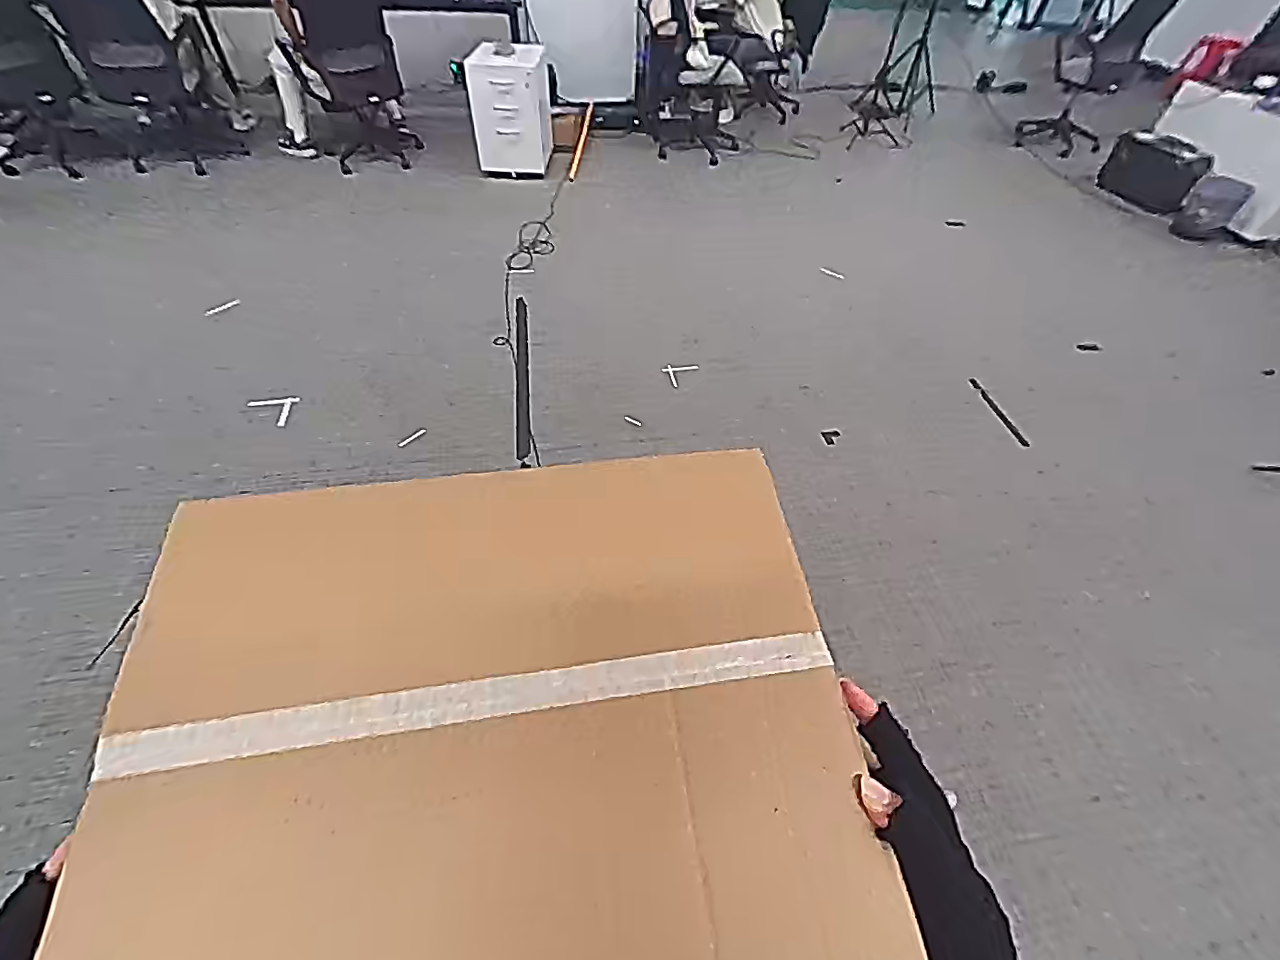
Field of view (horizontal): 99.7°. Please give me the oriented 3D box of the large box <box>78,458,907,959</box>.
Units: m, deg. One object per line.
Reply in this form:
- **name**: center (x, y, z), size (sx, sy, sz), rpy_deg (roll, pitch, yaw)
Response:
- **large box**: center (-0.089, 0.210, 0.449), size (0.408, 0.320, 0.320), rpy_deg (-5, 59, -7)
